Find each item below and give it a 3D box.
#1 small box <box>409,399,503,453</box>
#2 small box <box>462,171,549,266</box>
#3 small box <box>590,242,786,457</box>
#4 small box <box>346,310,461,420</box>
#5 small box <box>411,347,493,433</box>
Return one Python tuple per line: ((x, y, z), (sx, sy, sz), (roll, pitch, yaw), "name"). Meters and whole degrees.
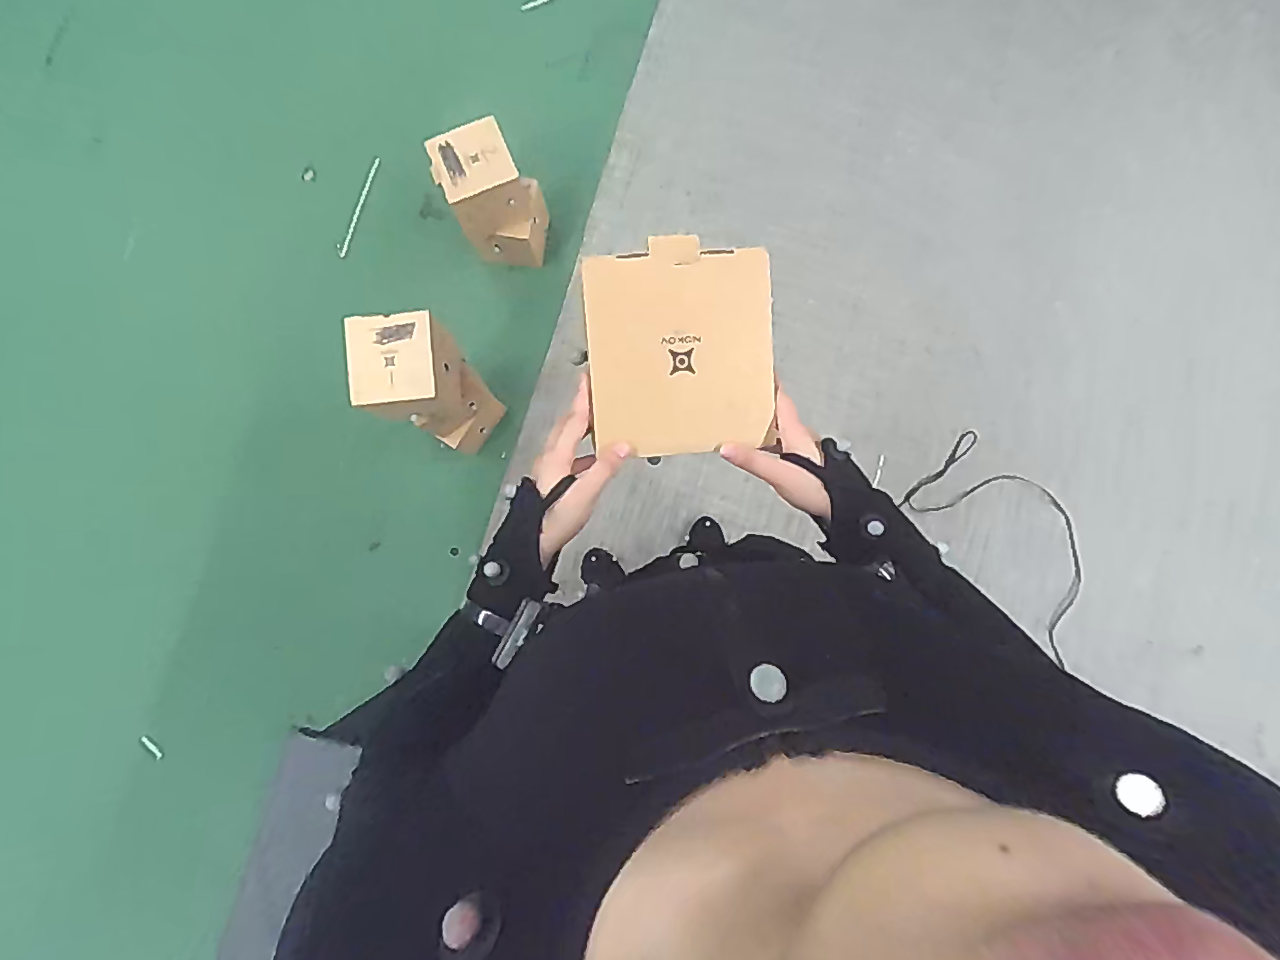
((-0.490, -0.185, 1.434), (0.179, 0.176, 0.168), (33, 86, 3), "small box")
((-0.360, -0.703, 1.472), (0.179, 0.176, 0.168), (8, 85, 1), "small box")
((0.038, -0.123, 0.547), (0.168, 0.176, 0.179), (-5, 97, -5), "small box")
((-0.477, -0.229, 1.110), (0.168, 0.176, 0.179), (-6, 87, -1), "small box")
((-0.475, -0.225, 1.274), (0.168, 0.176, 0.179), (-36, 86, -4), "small box")
